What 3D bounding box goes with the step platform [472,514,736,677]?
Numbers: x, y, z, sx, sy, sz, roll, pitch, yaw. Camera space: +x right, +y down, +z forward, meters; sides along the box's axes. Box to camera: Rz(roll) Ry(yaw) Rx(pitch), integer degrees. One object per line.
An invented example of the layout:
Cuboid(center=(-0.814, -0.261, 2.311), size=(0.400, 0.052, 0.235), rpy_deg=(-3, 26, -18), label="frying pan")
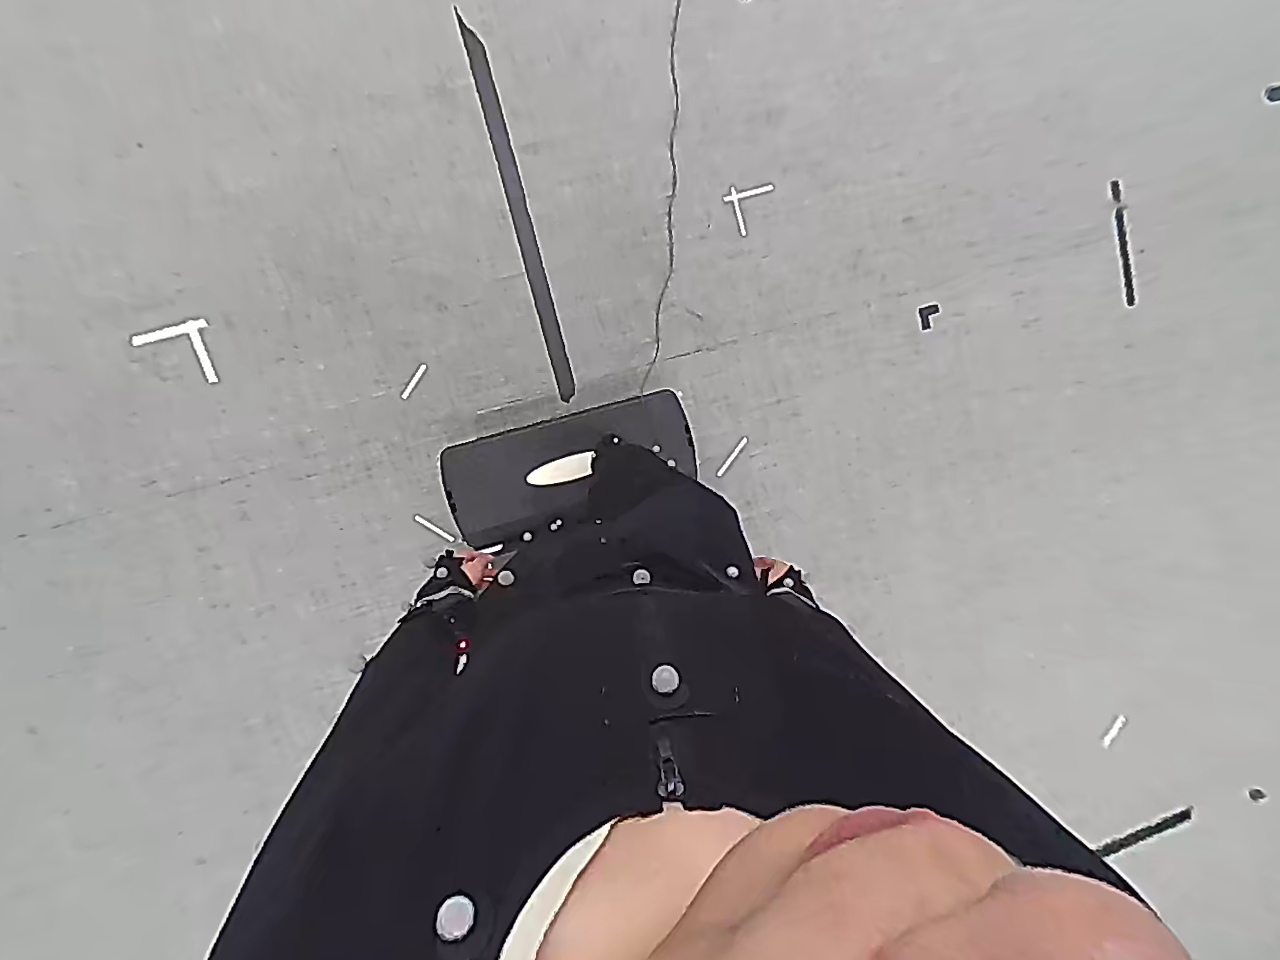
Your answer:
Cuboid(center=(-0.089, 0.297, 1.443), size=(0.684, 0.204, 0.286), rpy_deg=(-11, 93, -7), label="step platform")
